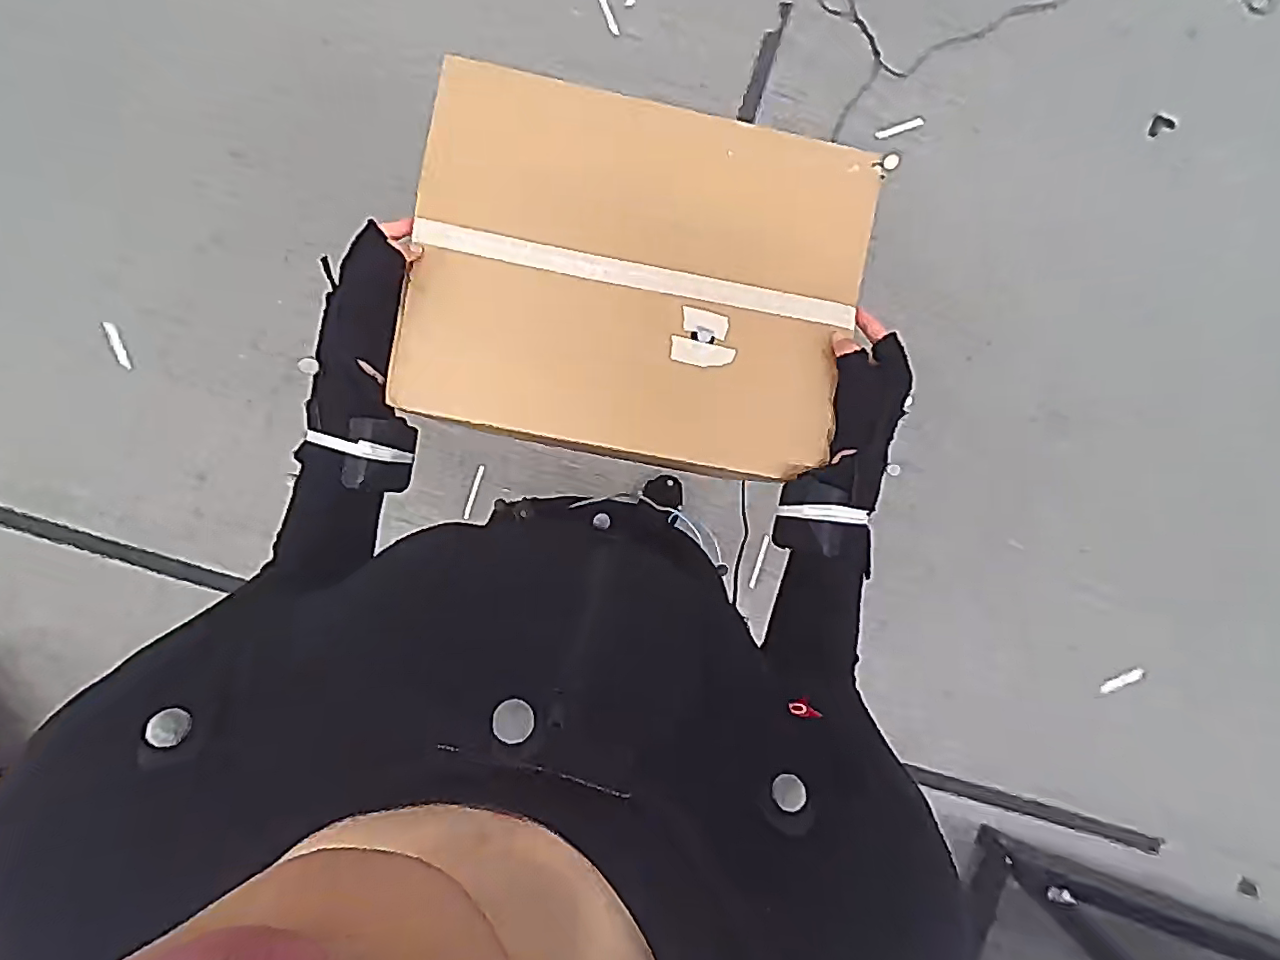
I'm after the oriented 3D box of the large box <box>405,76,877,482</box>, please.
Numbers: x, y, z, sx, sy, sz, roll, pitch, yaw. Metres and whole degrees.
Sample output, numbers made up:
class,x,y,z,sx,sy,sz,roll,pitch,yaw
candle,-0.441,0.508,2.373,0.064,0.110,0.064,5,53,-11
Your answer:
class,x,y,z,sx,sy,sz,roll,pitch,yaw
large box,-0.007,-0.185,0.649,0.408,0.320,0.320,11,92,-5
